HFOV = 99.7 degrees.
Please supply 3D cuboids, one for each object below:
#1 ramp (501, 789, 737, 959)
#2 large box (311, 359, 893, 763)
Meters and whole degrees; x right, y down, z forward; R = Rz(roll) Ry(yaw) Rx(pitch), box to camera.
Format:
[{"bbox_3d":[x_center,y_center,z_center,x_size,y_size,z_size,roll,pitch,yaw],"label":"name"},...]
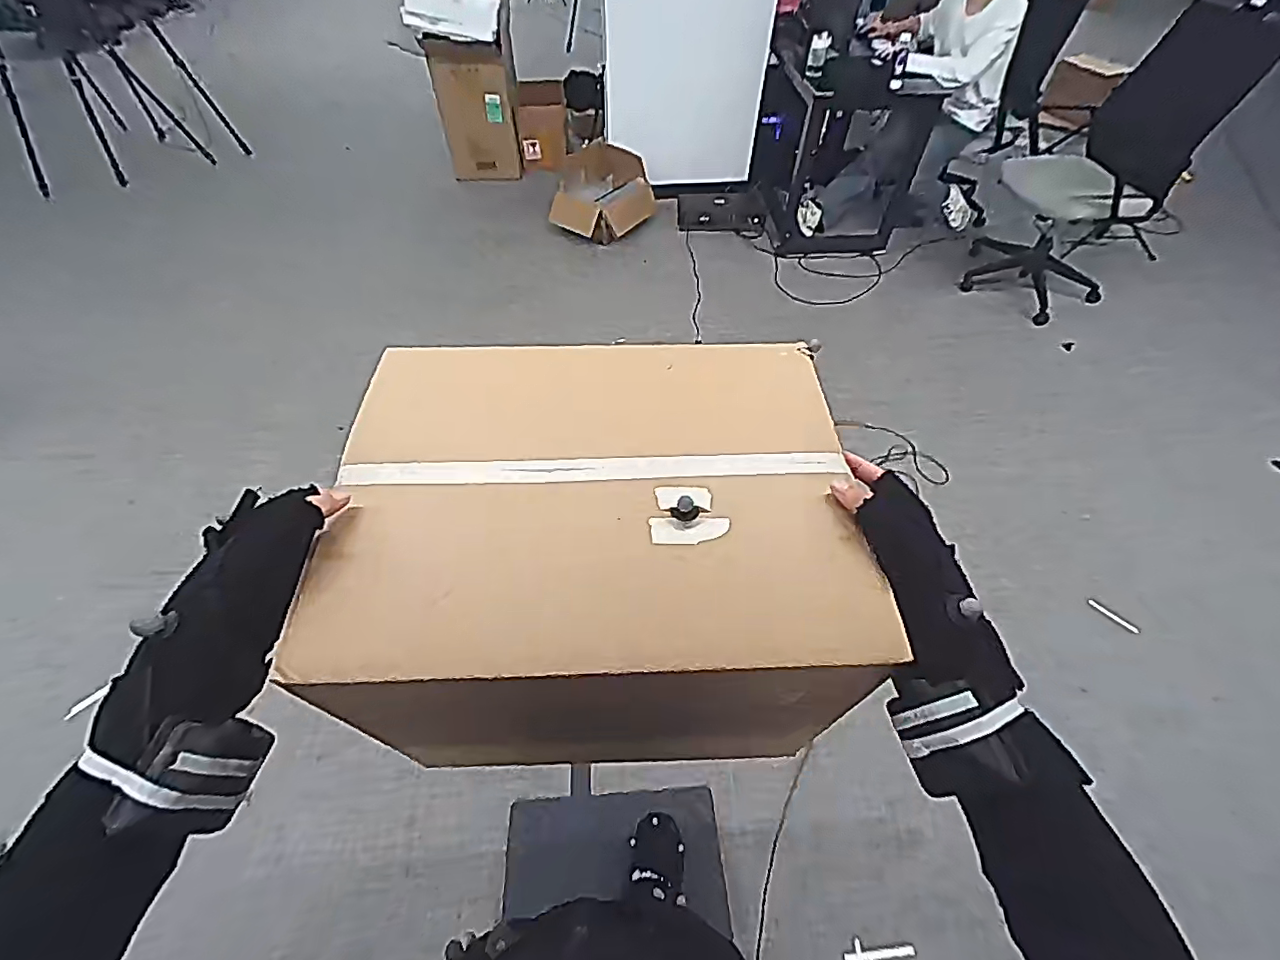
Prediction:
[{"bbox_3d":[-0.031,1.119,0.970,0.509,0.206,0.991,-5,52,-3],"label":"ramp"},{"bbox_3d":[-0.032,0.092,0.571,0.408,0.320,0.320,-1,53,-2],"label":"large box"}]
